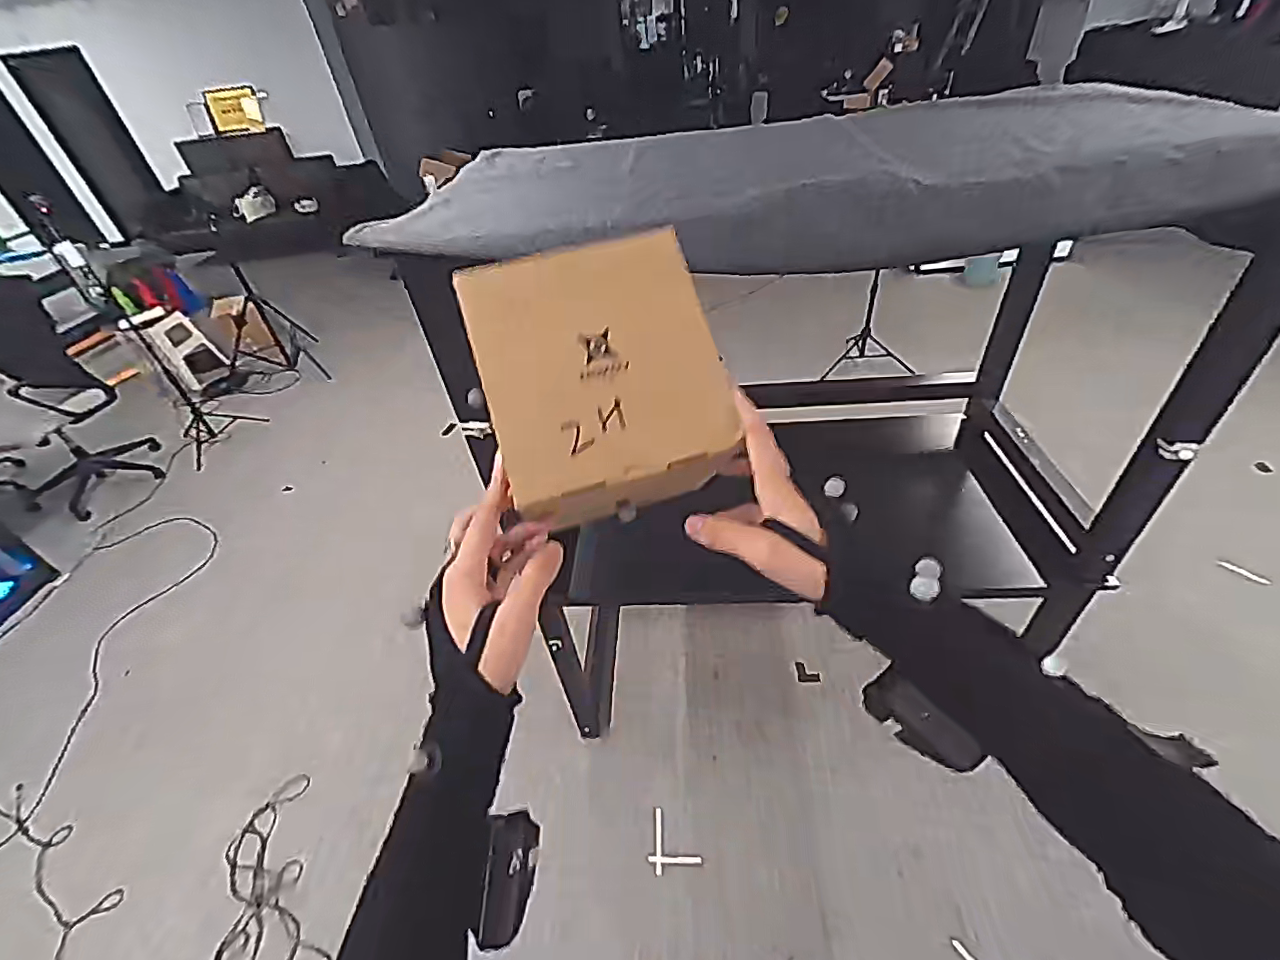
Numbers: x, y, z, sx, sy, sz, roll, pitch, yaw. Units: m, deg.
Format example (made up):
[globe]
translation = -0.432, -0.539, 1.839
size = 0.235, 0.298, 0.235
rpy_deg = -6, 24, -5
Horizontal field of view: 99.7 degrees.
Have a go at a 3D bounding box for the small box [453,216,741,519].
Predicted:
[small box]
translation = -0.039, -0.078, 0.450
size = 0.168, 0.176, 0.179
rpy_deg = -15, 81, -8
